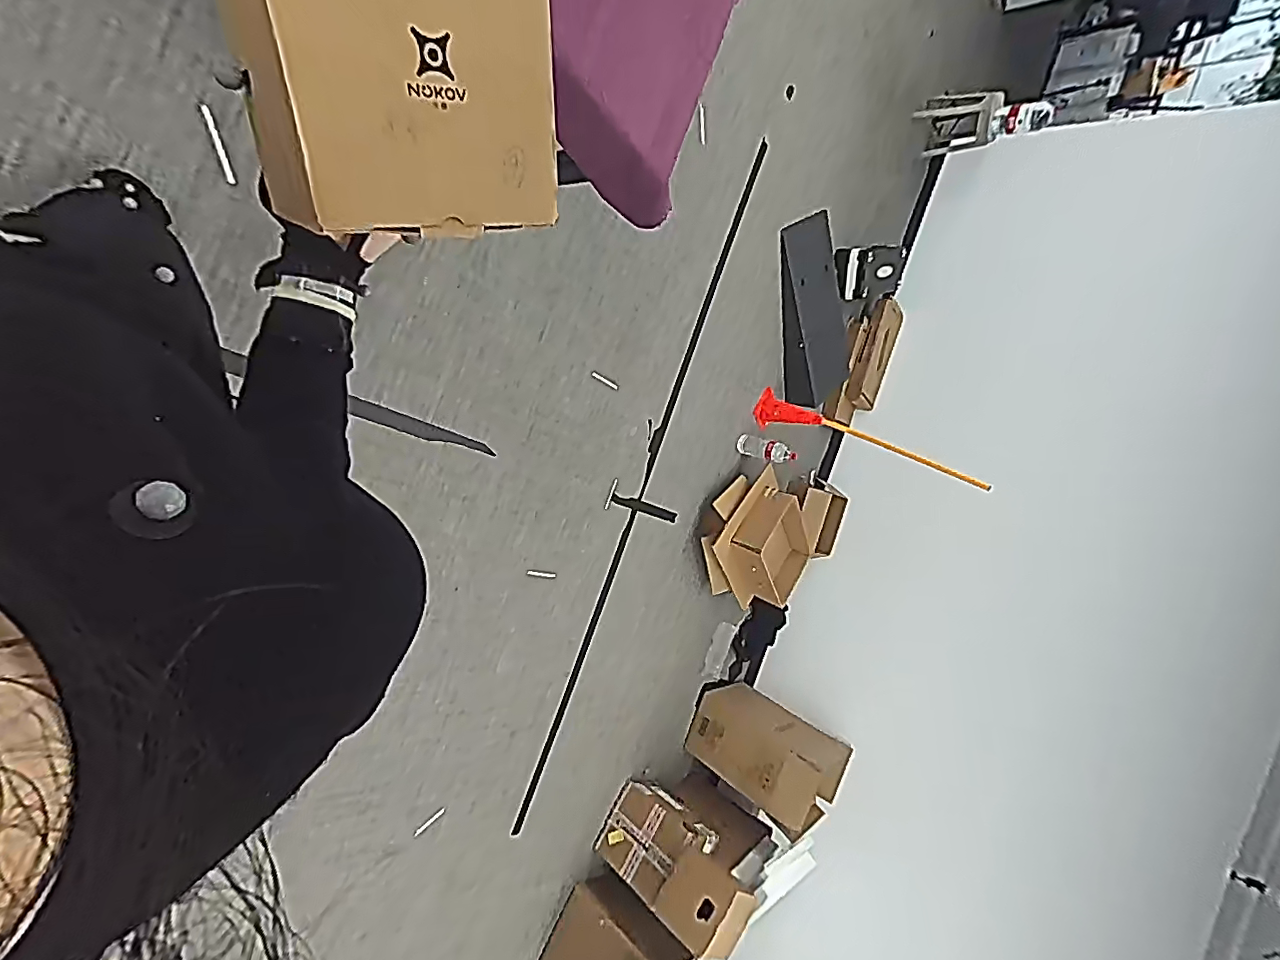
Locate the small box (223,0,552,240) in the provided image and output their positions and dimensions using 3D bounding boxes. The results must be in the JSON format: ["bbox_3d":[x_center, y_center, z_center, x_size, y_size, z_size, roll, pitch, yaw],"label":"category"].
[{"bbox_3d":[-0.178,-0.280,0.389,0.168,0.176,0.179,-20,127,-34],"label":"small box"}]
